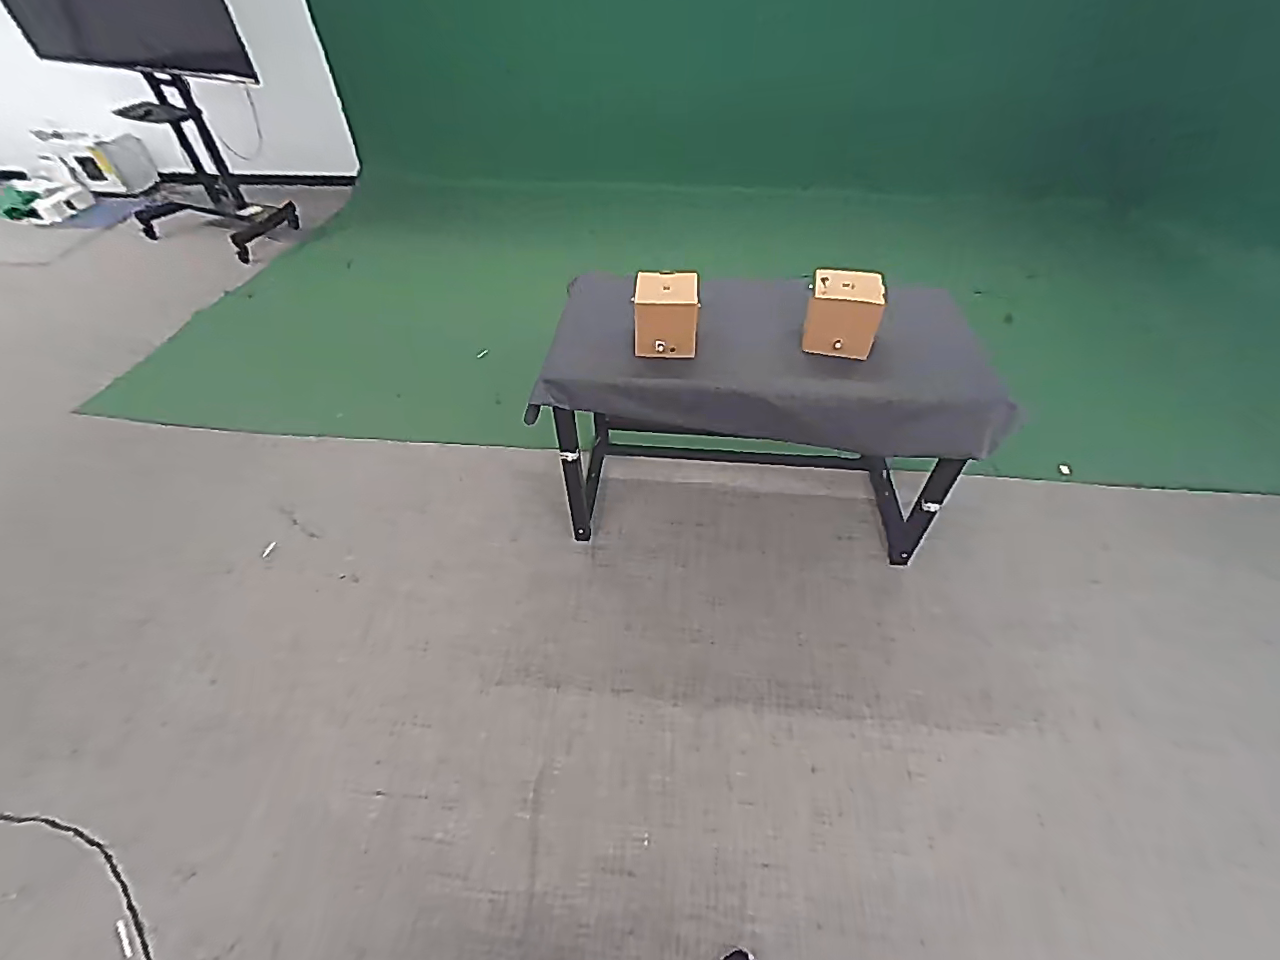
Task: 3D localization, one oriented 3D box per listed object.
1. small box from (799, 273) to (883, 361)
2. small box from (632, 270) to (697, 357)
[{"bbox_3d":[0.553,-0.448,1.497,0.179,0.176,0.168,10,47,10],"label":"small box"},{"bbox_3d":[0.070,-0.459,1.492,0.168,0.176,0.179,2,46,5],"label":"small box"}]
